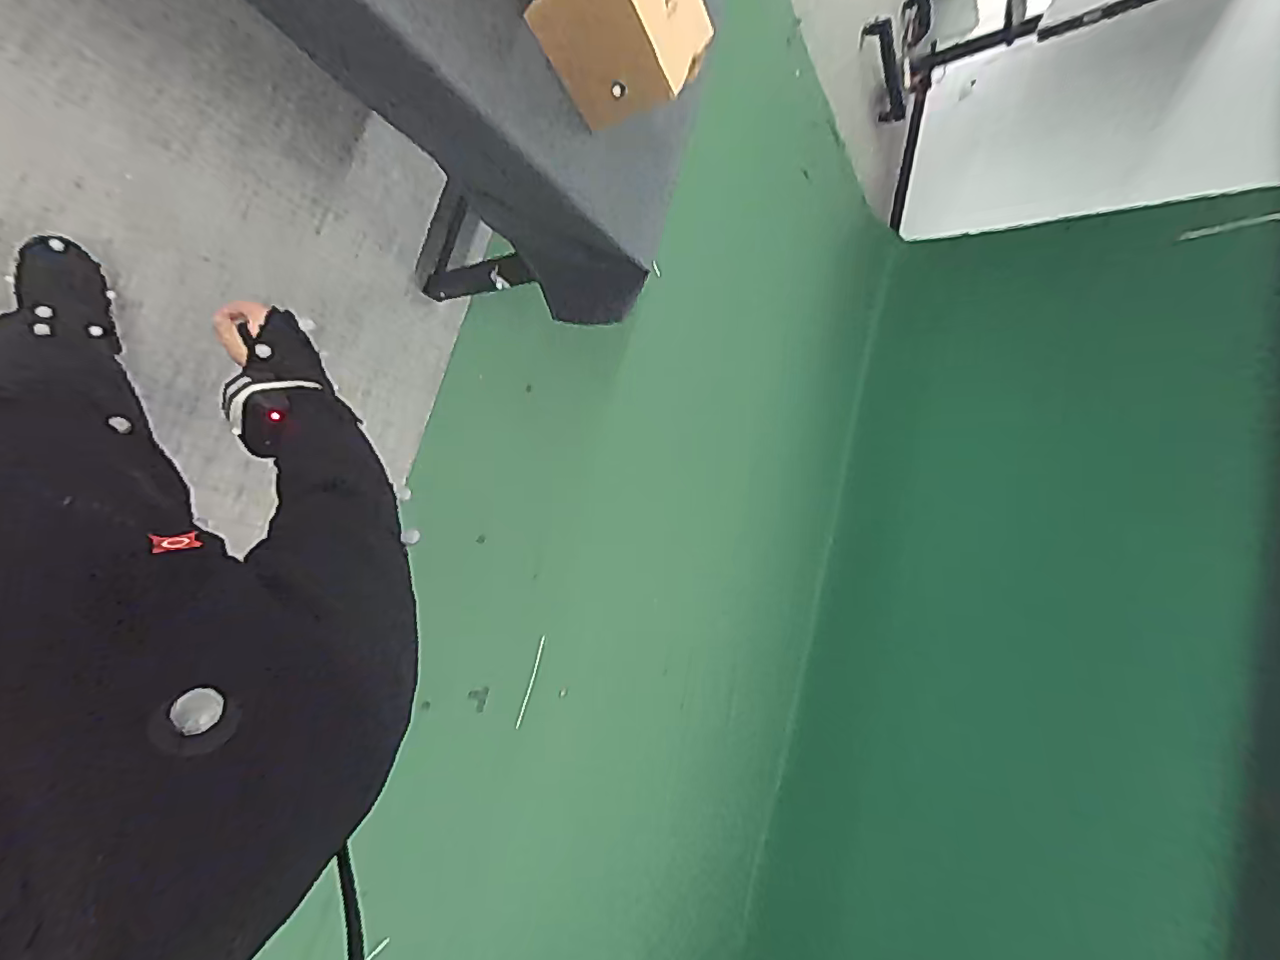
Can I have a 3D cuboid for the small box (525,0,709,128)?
[{"bbox_3d":[-0.030,-0.653,0.789,0.179,0.176,0.168,44,61,-44],"label":"small box"}]
